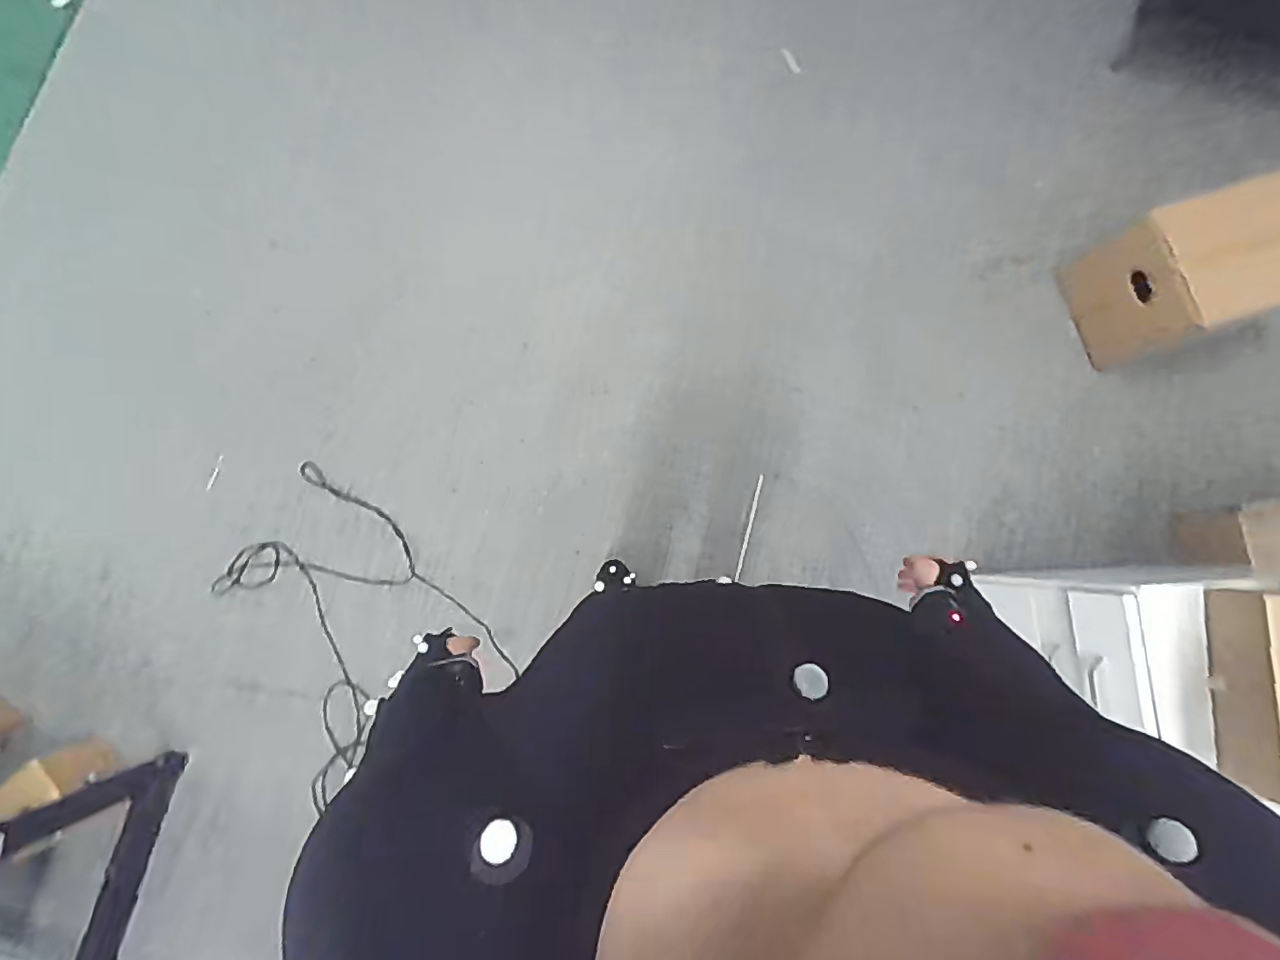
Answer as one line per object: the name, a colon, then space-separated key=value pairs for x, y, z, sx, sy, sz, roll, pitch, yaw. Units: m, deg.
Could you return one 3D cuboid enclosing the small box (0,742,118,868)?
small box: x=-1.465 y=0.791 z=1.342 sx=0.179 sy=0.176 sz=0.168 roll=-41 pitch=84 yaw=-5
